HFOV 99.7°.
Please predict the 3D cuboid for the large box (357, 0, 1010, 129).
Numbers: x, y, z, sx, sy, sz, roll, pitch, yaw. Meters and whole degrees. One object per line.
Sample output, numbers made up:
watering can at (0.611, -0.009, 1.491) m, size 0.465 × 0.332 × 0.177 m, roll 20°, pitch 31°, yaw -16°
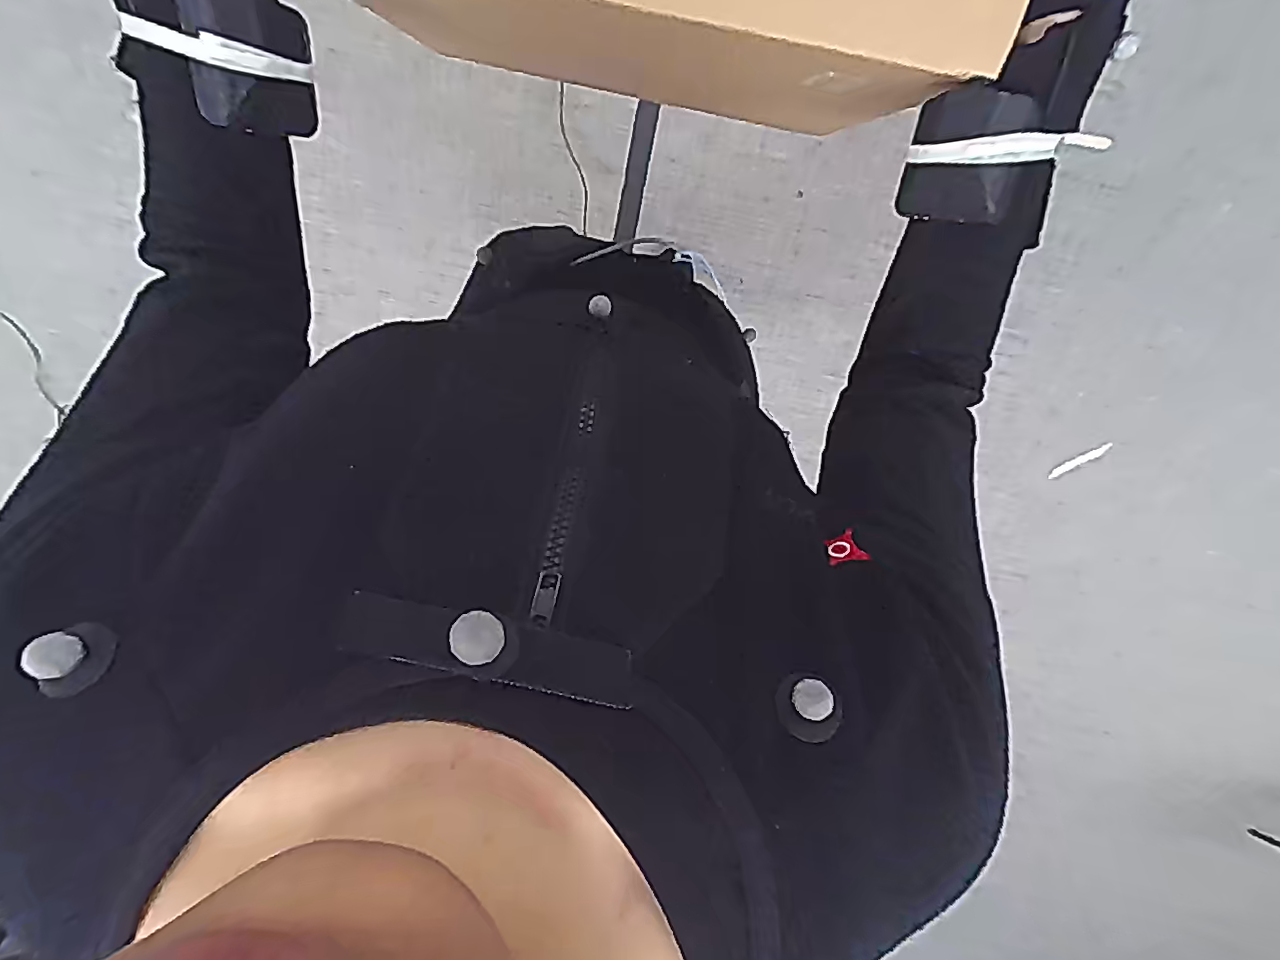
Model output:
large box at (0.017, -0.452, 0.346) m, size 0.408 × 0.320 × 0.320 m, roll 9°, pitch 119°, yaw -4°
